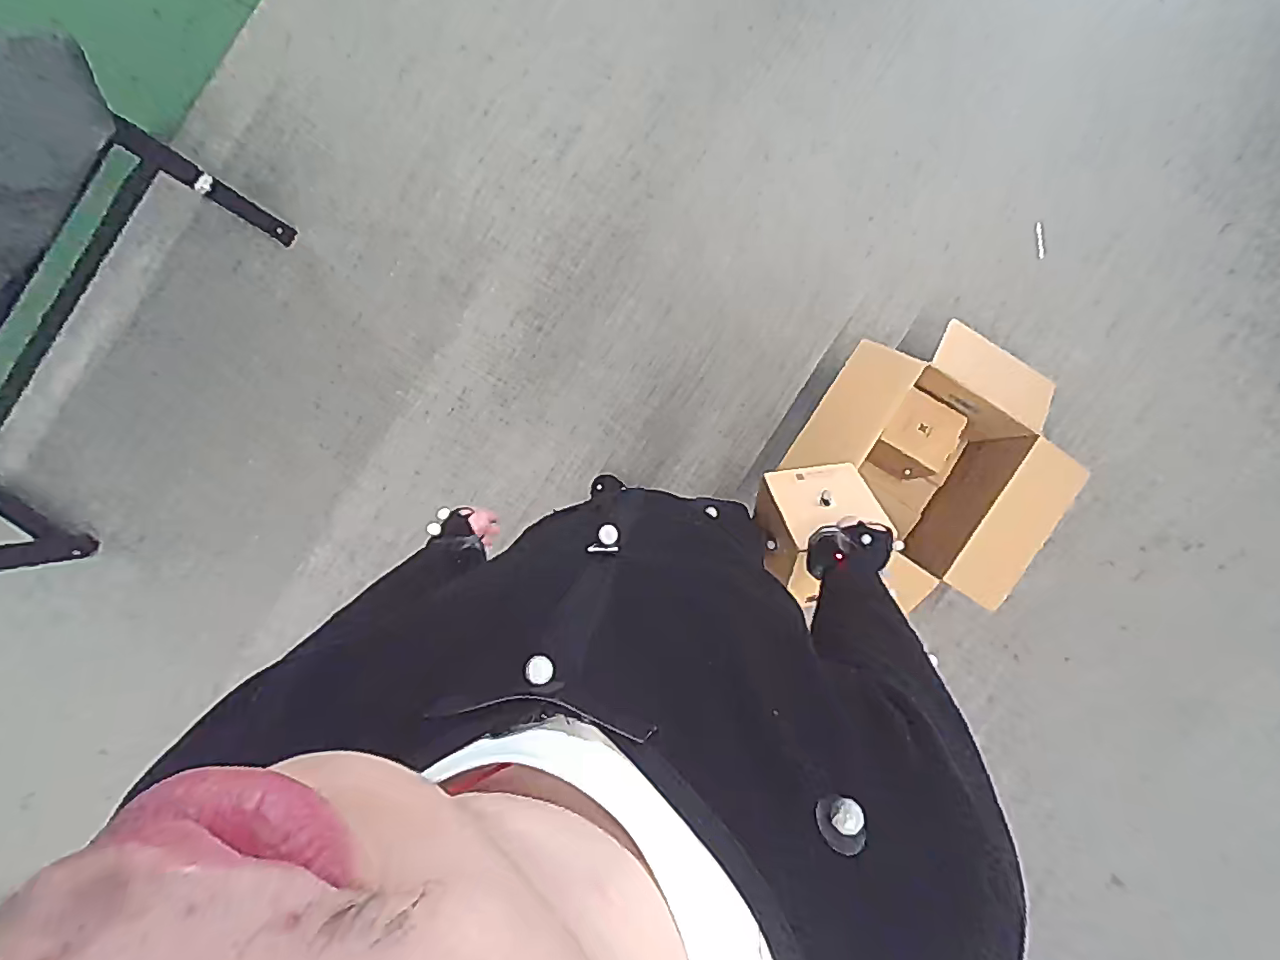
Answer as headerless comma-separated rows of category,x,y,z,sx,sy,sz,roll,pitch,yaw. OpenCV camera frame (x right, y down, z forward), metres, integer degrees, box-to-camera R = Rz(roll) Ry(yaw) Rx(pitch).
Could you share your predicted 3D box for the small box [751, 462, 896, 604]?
small box,0.303,0.084,0.935,0.168,0.179,0.176,-11,48,-6
